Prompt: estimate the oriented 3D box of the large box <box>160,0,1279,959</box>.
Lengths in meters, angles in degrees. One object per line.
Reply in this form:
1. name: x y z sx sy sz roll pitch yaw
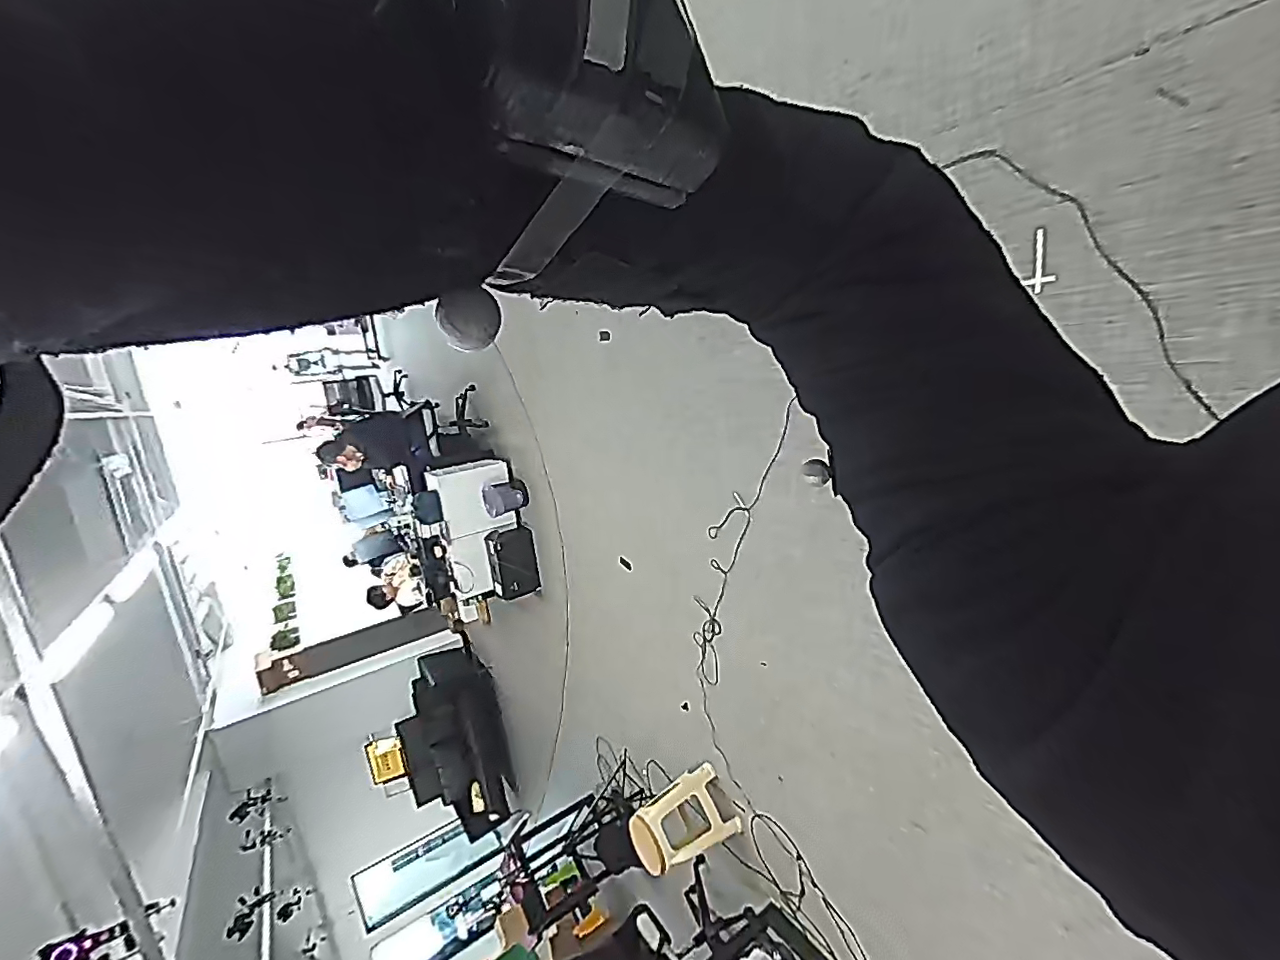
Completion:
1. large box: 0.126 0.059 0.153 0.408 0.320 0.320 14 -114 54
